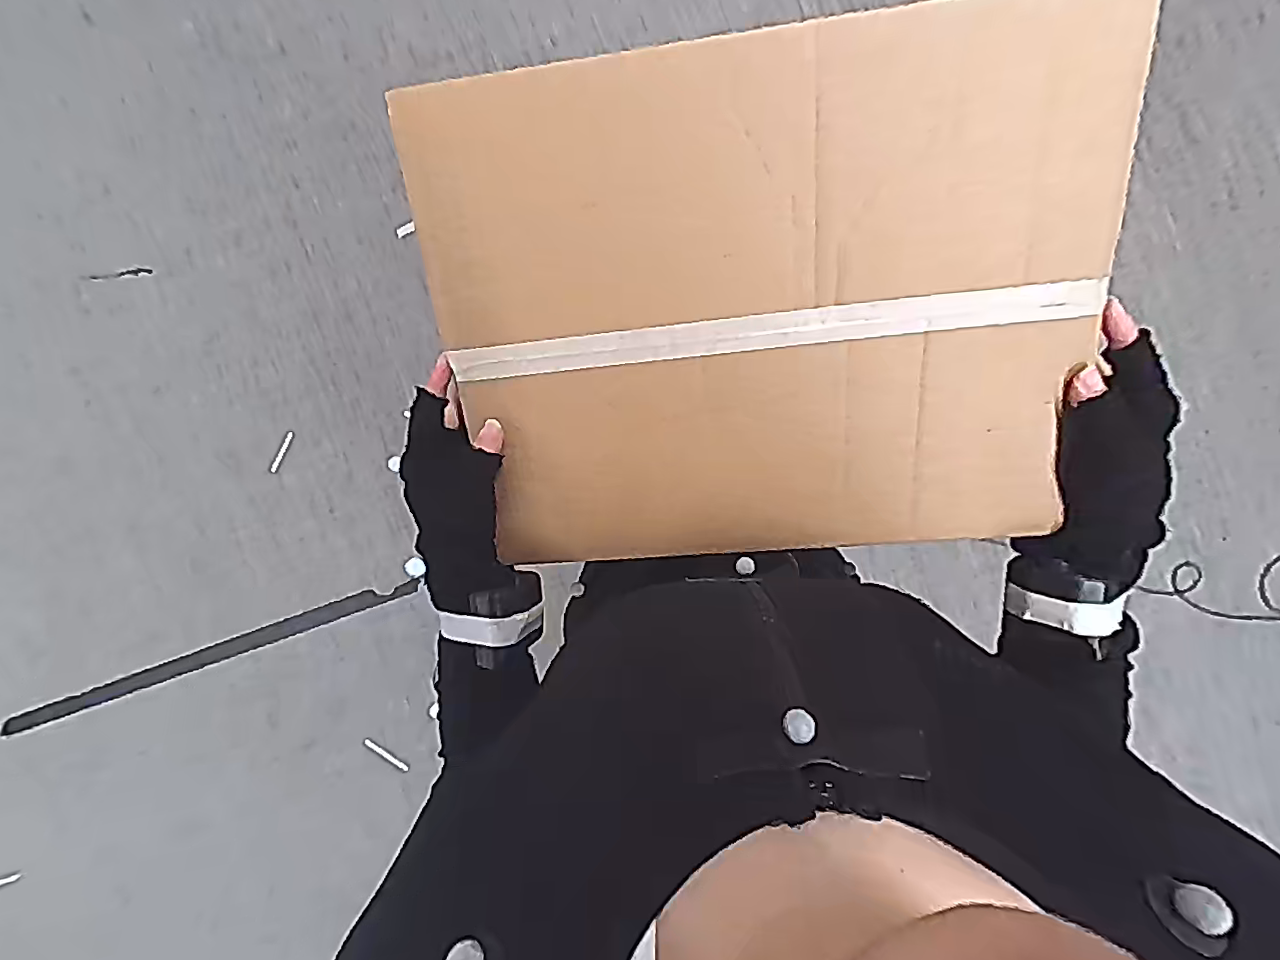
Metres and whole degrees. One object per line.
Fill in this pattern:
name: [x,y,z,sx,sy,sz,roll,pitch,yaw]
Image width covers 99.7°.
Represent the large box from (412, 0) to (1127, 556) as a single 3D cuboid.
large box: [0.085,-0.150,0.492,0.408,0.320,0.320,-4,112,7]
